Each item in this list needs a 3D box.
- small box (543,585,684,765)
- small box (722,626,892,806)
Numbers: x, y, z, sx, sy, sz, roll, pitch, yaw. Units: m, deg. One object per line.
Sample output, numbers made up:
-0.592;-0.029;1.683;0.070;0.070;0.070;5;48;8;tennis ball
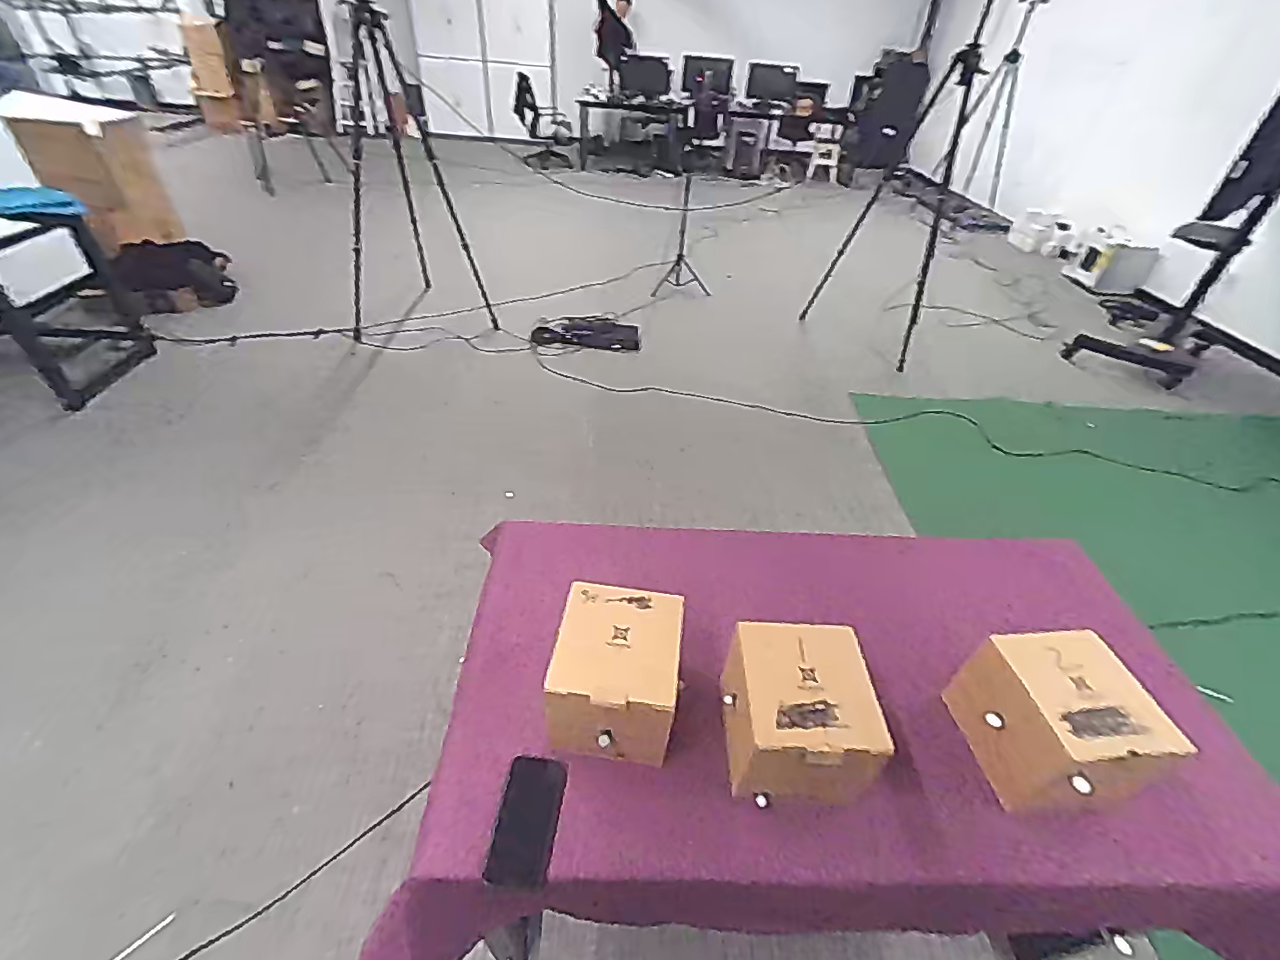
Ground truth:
-0.031;0.280;0.774;0.168;0.176;0.179;7;41;4;small box
0.212;0.324;0.741;0.168;0.176;0.179;3;39;-2;small box
